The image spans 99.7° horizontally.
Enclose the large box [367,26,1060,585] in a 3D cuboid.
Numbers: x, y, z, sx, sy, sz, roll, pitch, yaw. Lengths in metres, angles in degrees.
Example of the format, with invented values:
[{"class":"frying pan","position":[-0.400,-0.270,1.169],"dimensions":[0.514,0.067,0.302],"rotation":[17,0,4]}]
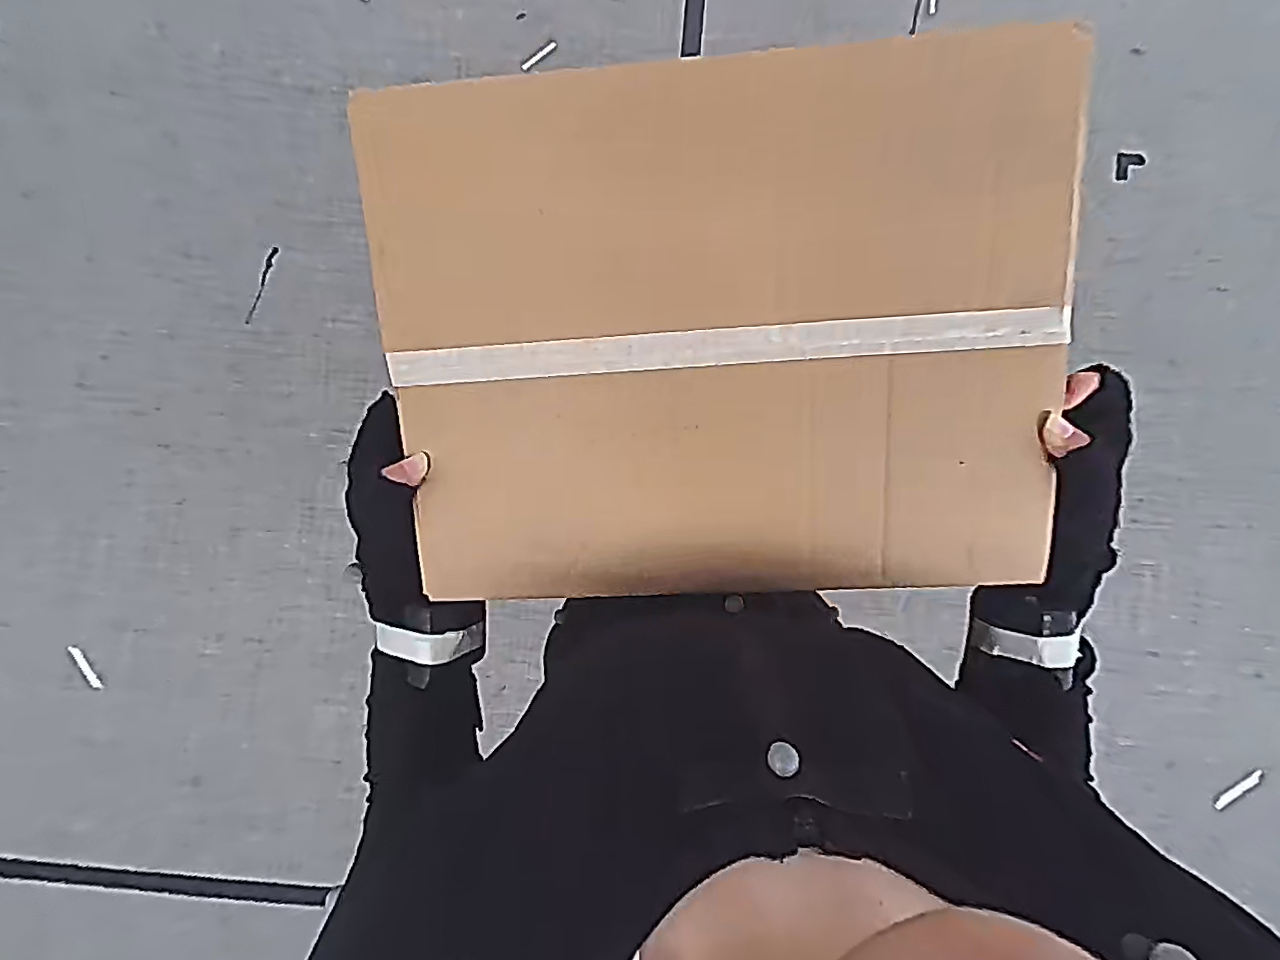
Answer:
[{"class":"large box","position":[0.050,-0.116,0.482],"dimensions":[0.408,0.320,0.320],"rotation":[-3,102,4]}]
